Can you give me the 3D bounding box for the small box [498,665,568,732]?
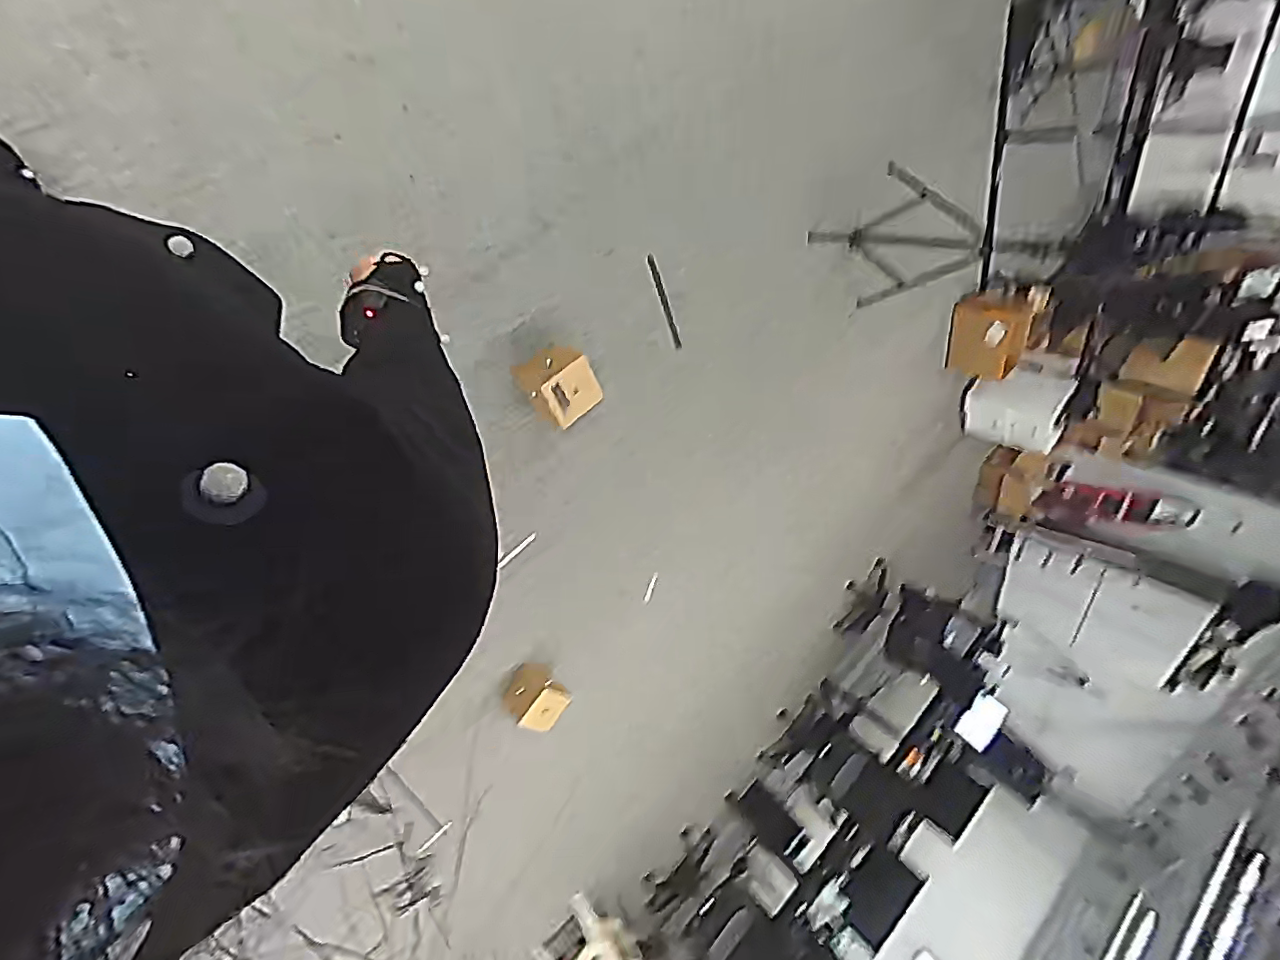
[{"bbox_3d":[-0.424,0.855,2.126,0.168,0.176,0.179,-53,137,-8],"label":"small box"}]
